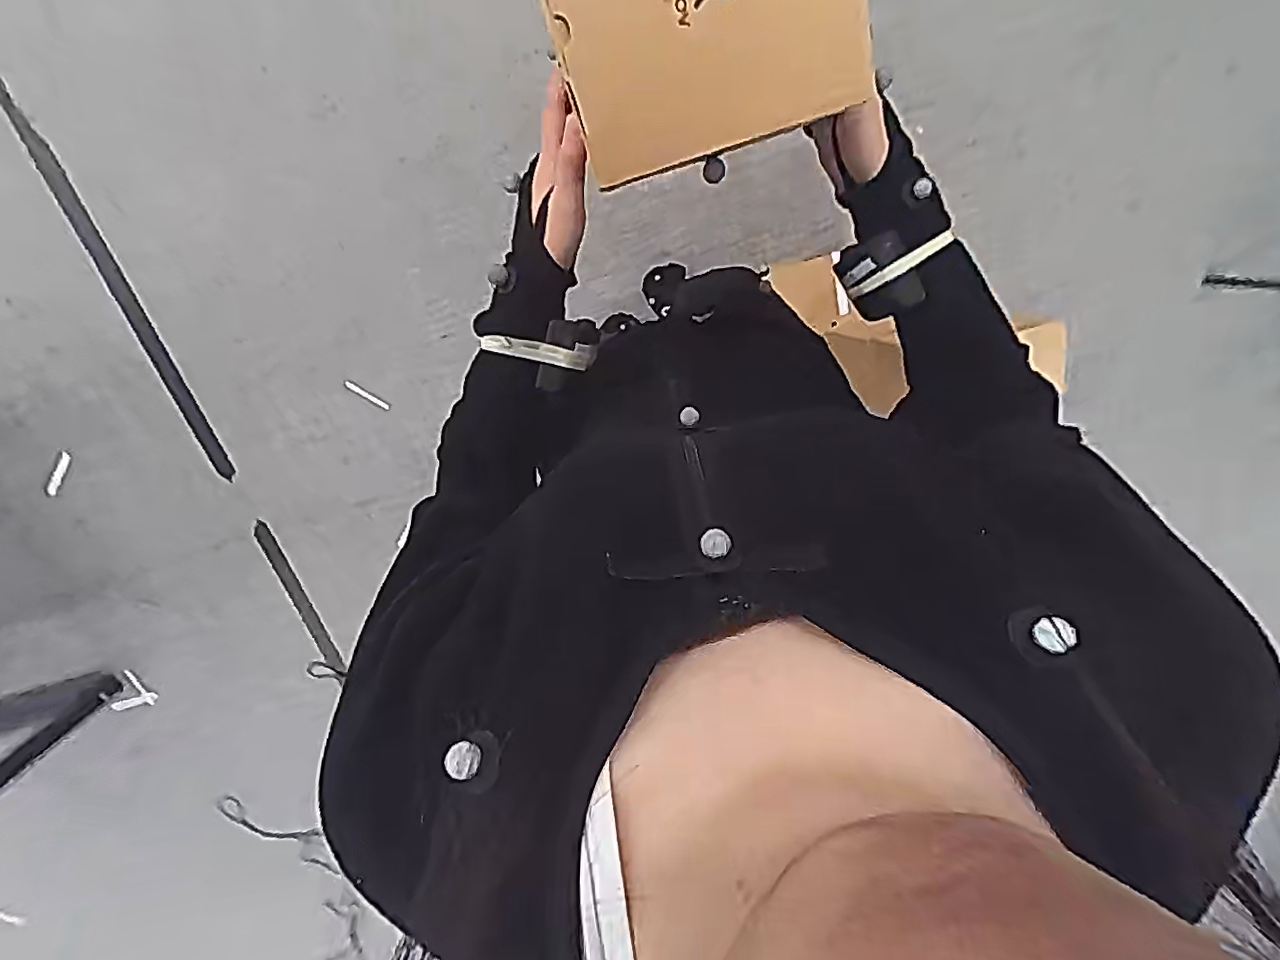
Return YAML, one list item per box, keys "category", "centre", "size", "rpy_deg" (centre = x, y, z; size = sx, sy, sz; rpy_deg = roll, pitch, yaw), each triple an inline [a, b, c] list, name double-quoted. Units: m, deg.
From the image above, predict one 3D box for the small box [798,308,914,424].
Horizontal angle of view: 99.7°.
- category: "small box"
  centre: [0.426, -0.232, 1.068]
  size: [0.168, 0.176, 0.179]
  rpy_deg: [-16, 111, 4]

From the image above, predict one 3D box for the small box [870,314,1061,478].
- category: "small box"
  centre: [0.442, -0.124, 0.758]
  size: [0.168, 0.176, 0.179]
  rpy_deg: [-13, 110, 2]

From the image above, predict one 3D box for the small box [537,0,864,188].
- category: "small box"
  centre: [0.028, -0.318, 0.366]
  size: [0.179, 0.176, 0.168]
  rpy_deg: [-15, 119, 9]
